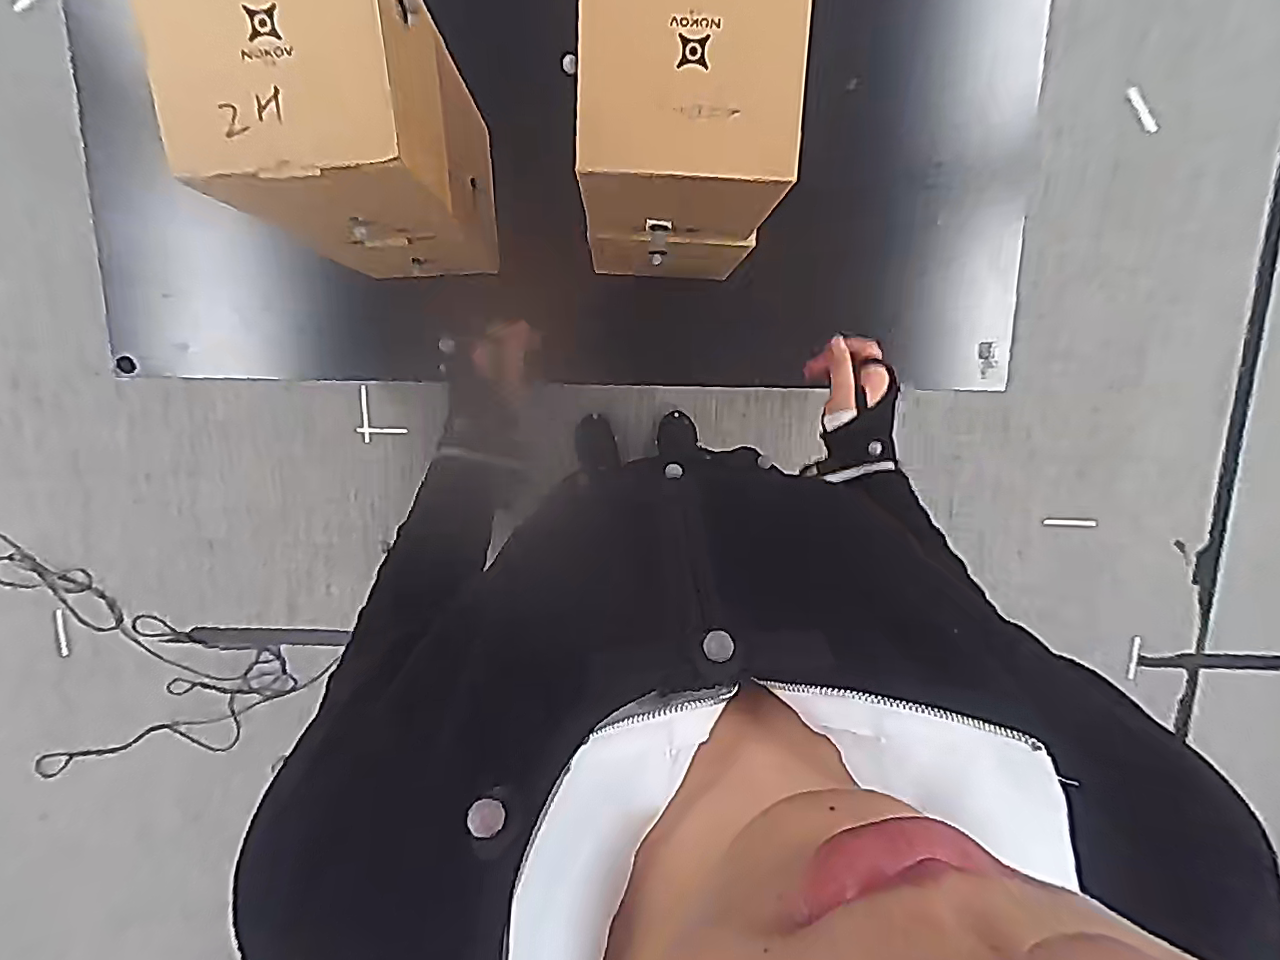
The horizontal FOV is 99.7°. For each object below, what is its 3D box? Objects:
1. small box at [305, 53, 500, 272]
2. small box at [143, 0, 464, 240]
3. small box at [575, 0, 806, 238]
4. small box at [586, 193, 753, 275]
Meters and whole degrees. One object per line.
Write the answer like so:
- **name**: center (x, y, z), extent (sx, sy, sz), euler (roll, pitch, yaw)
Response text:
- **small box**: center (-0.267, -0.345, 0.622), extent (0.168, 0.176, 0.179), euler (-3, 99, 0)
- **small box**: center (-0.262, -0.323, 0.458), extent (0.168, 0.176, 0.179), euler (-5, 99, 0)
- **small box**: center (0.035, -0.327, 0.468), extent (0.168, 0.176, 0.179), euler (1, 100, 0)
- **small box**: center (0.032, -0.344, 0.630), extent (0.179, 0.176, 0.168), euler (2, 99, -3)
